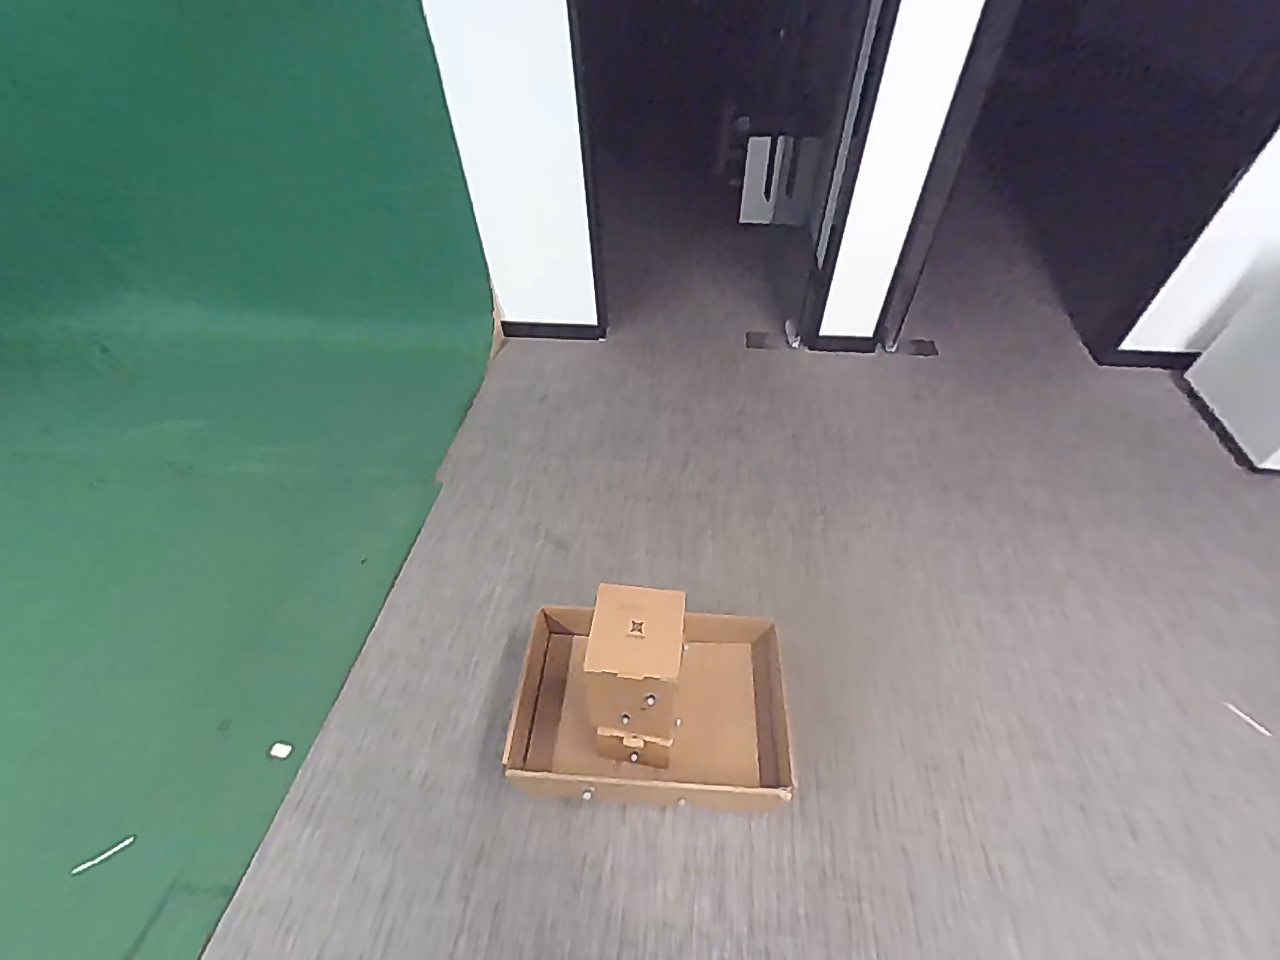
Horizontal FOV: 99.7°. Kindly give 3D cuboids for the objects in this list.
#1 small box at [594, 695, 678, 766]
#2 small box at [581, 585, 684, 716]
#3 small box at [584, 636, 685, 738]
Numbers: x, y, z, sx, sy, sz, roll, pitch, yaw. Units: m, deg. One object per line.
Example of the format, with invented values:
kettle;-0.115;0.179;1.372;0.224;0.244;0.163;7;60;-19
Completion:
small box;-0.001;0.546;1.262;0.168;0.176;0.179;7;49;7
small box;-0.009;0.324;1.022;0.168;0.176;0.179;6;46;4
small box;-0.006;0.427;1.148;0.179;0.176;0.168;8;47;10
